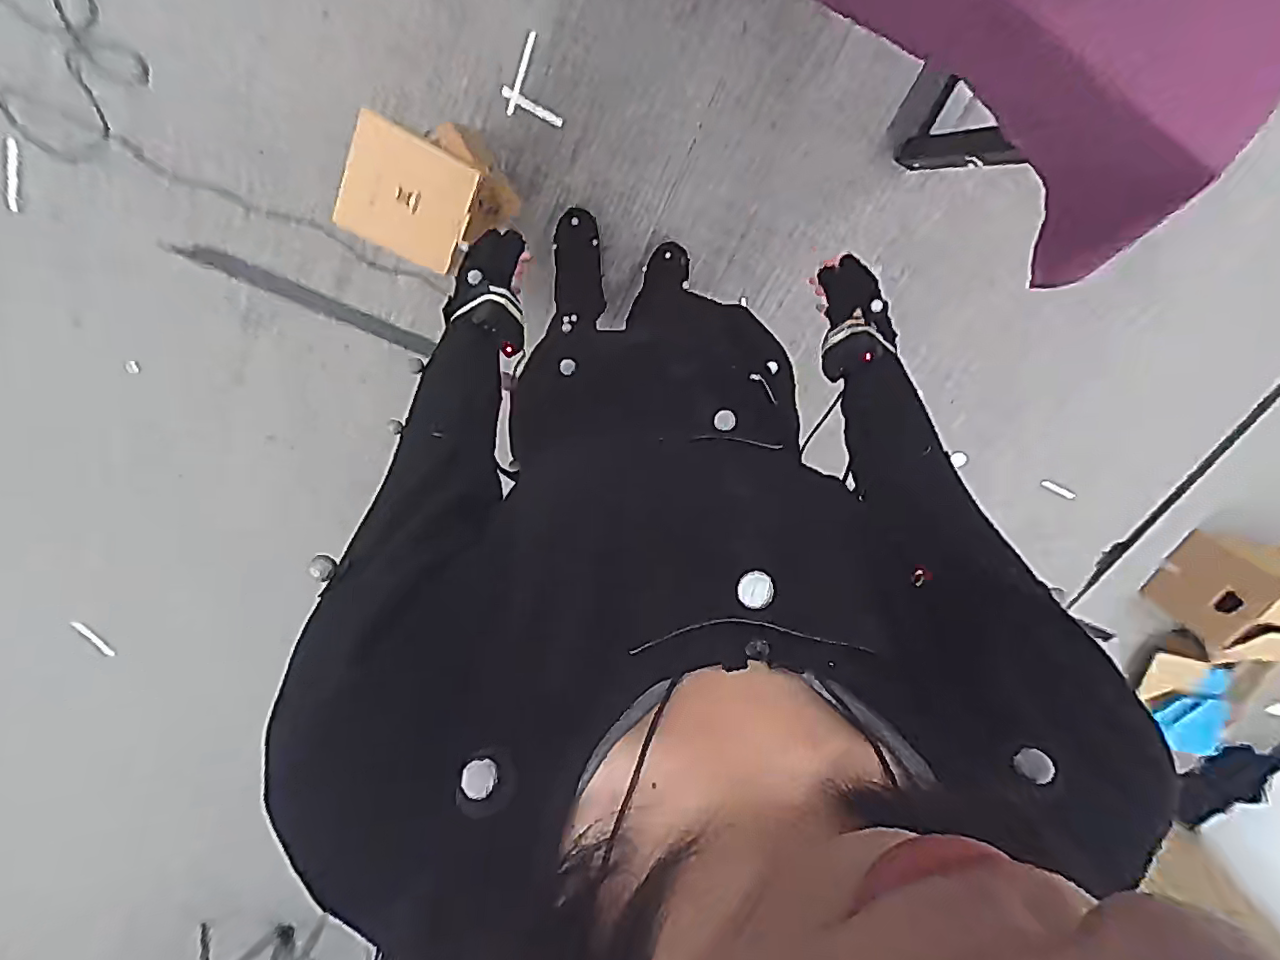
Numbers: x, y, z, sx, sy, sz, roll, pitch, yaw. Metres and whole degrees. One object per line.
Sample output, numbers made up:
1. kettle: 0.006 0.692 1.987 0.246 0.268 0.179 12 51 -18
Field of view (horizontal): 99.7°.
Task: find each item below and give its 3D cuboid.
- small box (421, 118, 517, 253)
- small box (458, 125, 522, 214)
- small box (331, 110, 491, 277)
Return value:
1. small box: -0.351 -0.531 1.010 0.168 0.176 0.179 -30 117 9
2. small box: -0.370 -0.612 1.151 0.168 0.176 0.179 -32 118 10
3. small box: -0.354 -0.452 0.866 0.179 0.176 0.168 22 112 -17
